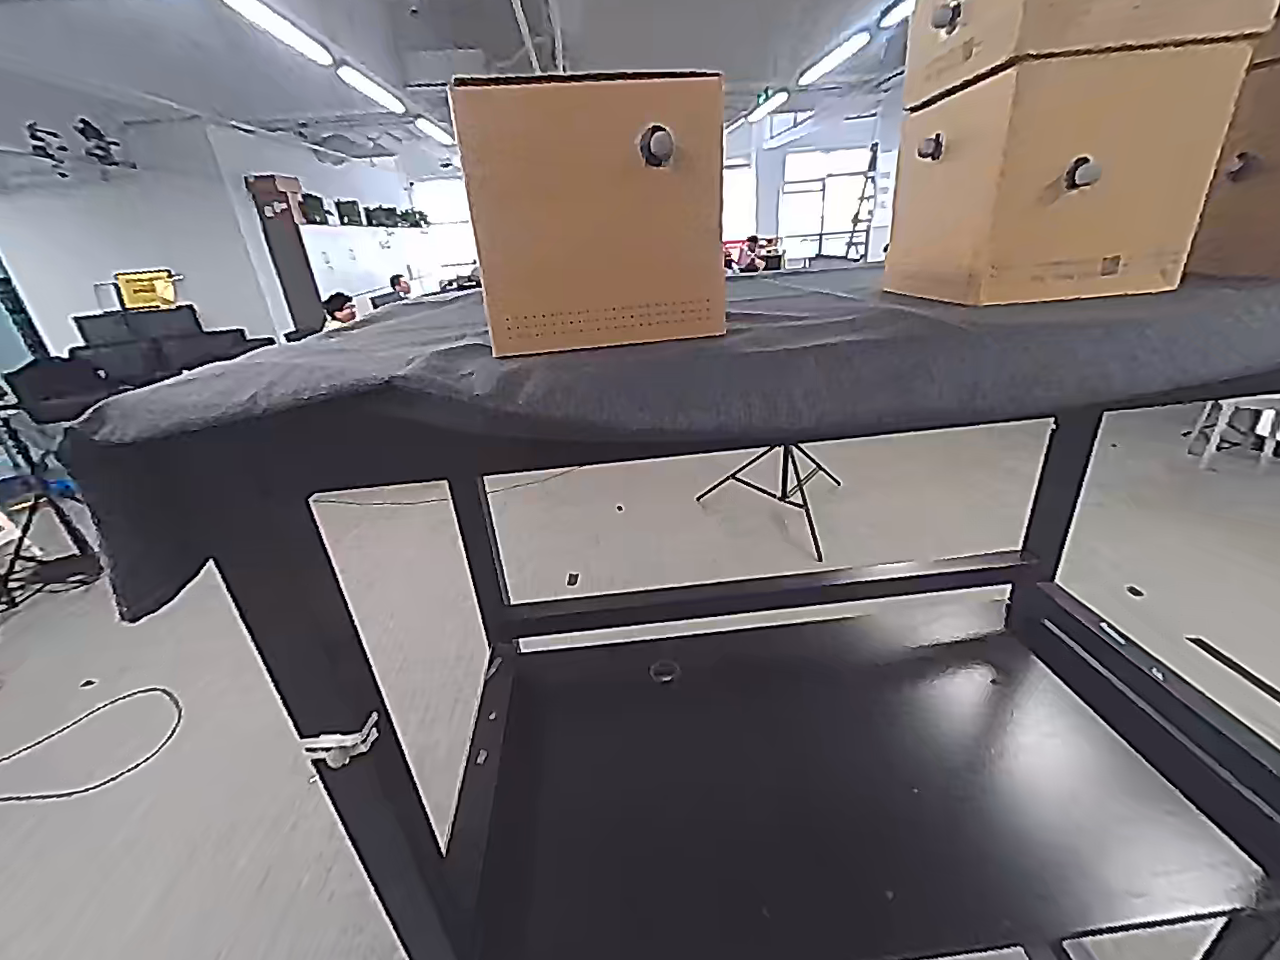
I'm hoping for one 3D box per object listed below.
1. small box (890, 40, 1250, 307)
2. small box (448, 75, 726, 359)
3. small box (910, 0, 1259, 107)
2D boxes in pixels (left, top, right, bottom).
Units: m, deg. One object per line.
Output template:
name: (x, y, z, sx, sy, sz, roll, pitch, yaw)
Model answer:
small box: (0.342, -0.249, 0.477, 0.168, 0.176, 0.179, -5, 23, 0)
small box: (-0.037, -0.202, 0.439, 0.179, 0.176, 0.168, -8, 23, -6)
small box: (0.328, -0.395, 0.402, 0.179, 0.176, 0.168, -6, 23, 1)
